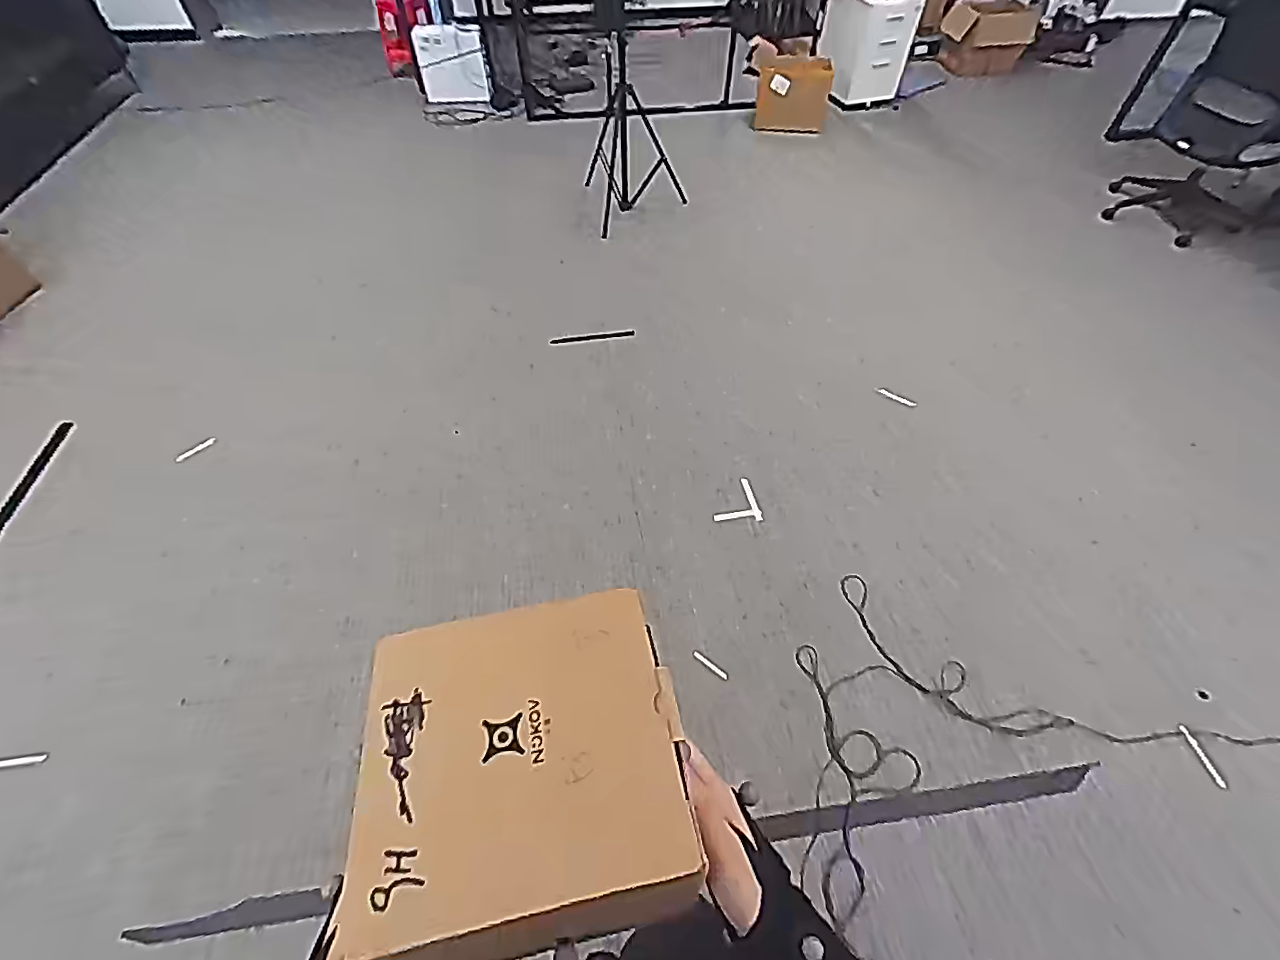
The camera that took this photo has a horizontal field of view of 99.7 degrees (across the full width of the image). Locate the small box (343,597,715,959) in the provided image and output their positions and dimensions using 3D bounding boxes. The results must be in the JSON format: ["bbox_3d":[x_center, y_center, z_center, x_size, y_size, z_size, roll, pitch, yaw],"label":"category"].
[{"bbox_3d":[-0.062,0.204,0.364,0.179,0.176,0.168,-8,45,-7],"label":"small box"}]
